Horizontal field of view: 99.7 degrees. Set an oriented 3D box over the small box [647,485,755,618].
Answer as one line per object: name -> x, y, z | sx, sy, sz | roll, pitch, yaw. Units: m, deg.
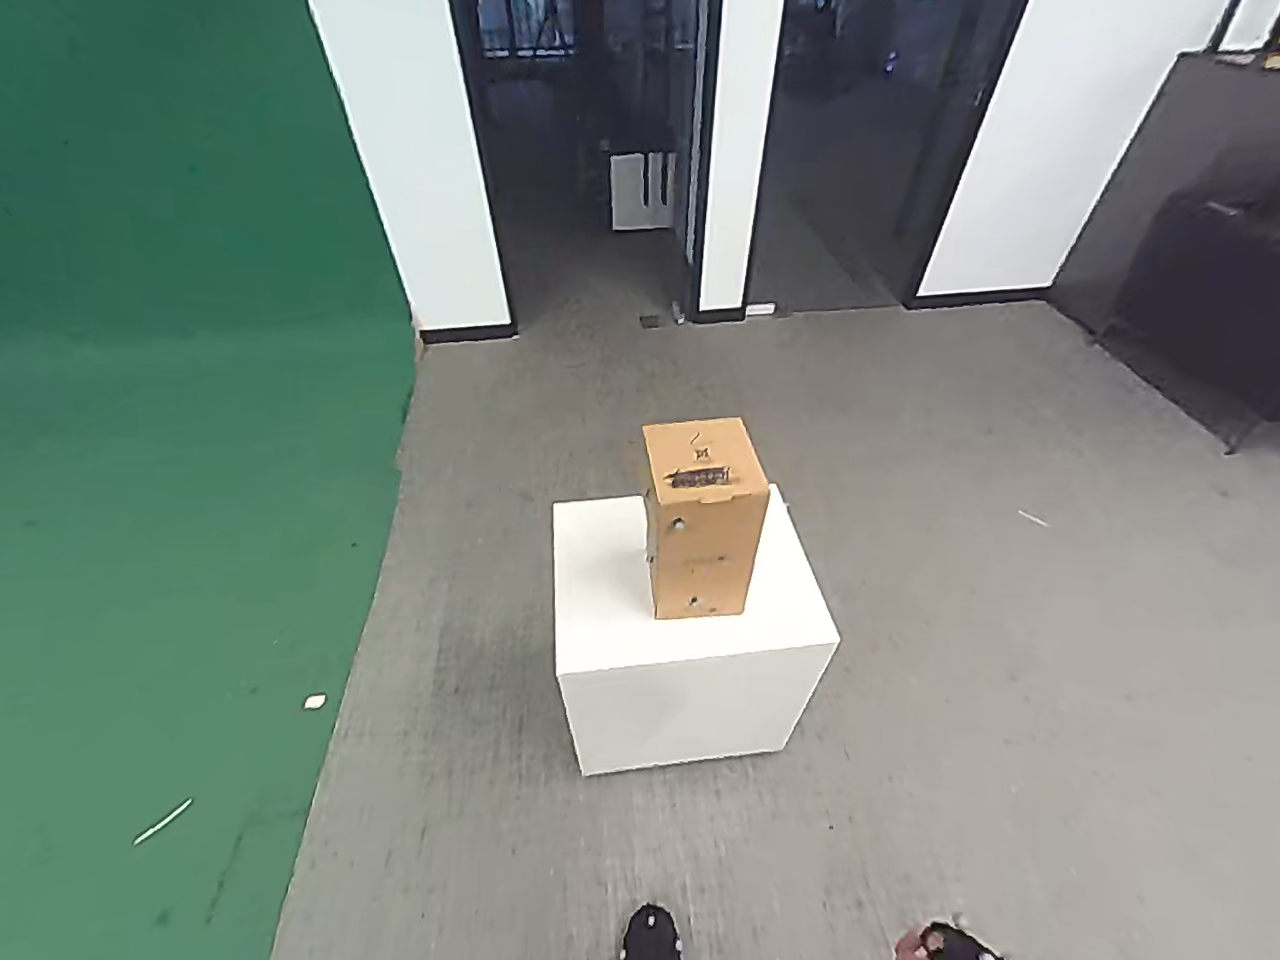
small box -> 0.102, 0.132, 0.999 | 0.168, 0.176, 0.179 | -4, 45, -3
